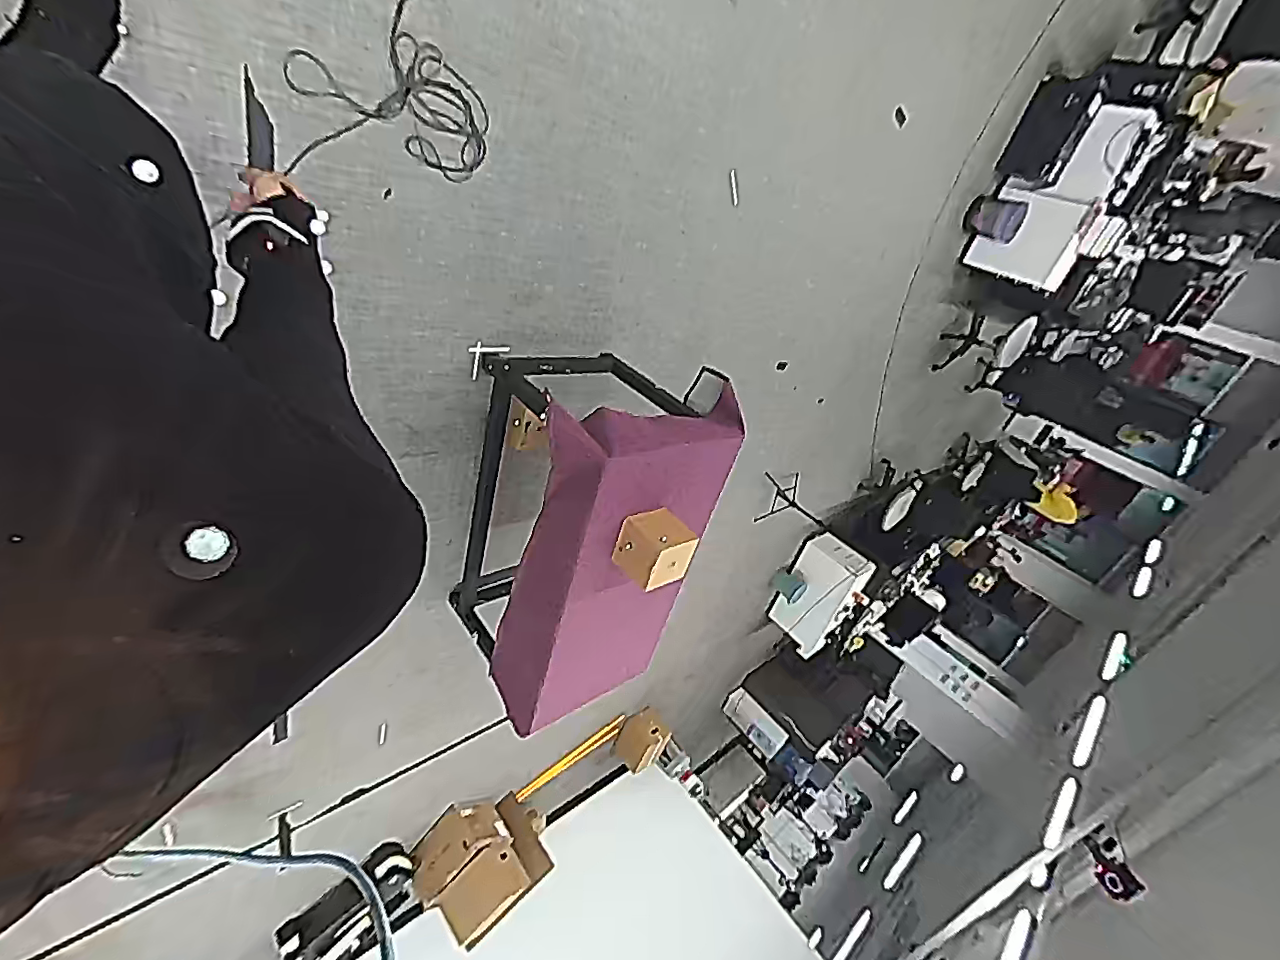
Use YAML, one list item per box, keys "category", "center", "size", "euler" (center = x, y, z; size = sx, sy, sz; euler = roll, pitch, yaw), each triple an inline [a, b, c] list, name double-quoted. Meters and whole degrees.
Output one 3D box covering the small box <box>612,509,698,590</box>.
- category: "small box"
  center: [0.044, 0.207, 1.676]
  size: [0.179, 0.176, 0.168]
  euler: [-12, 131, -42]
